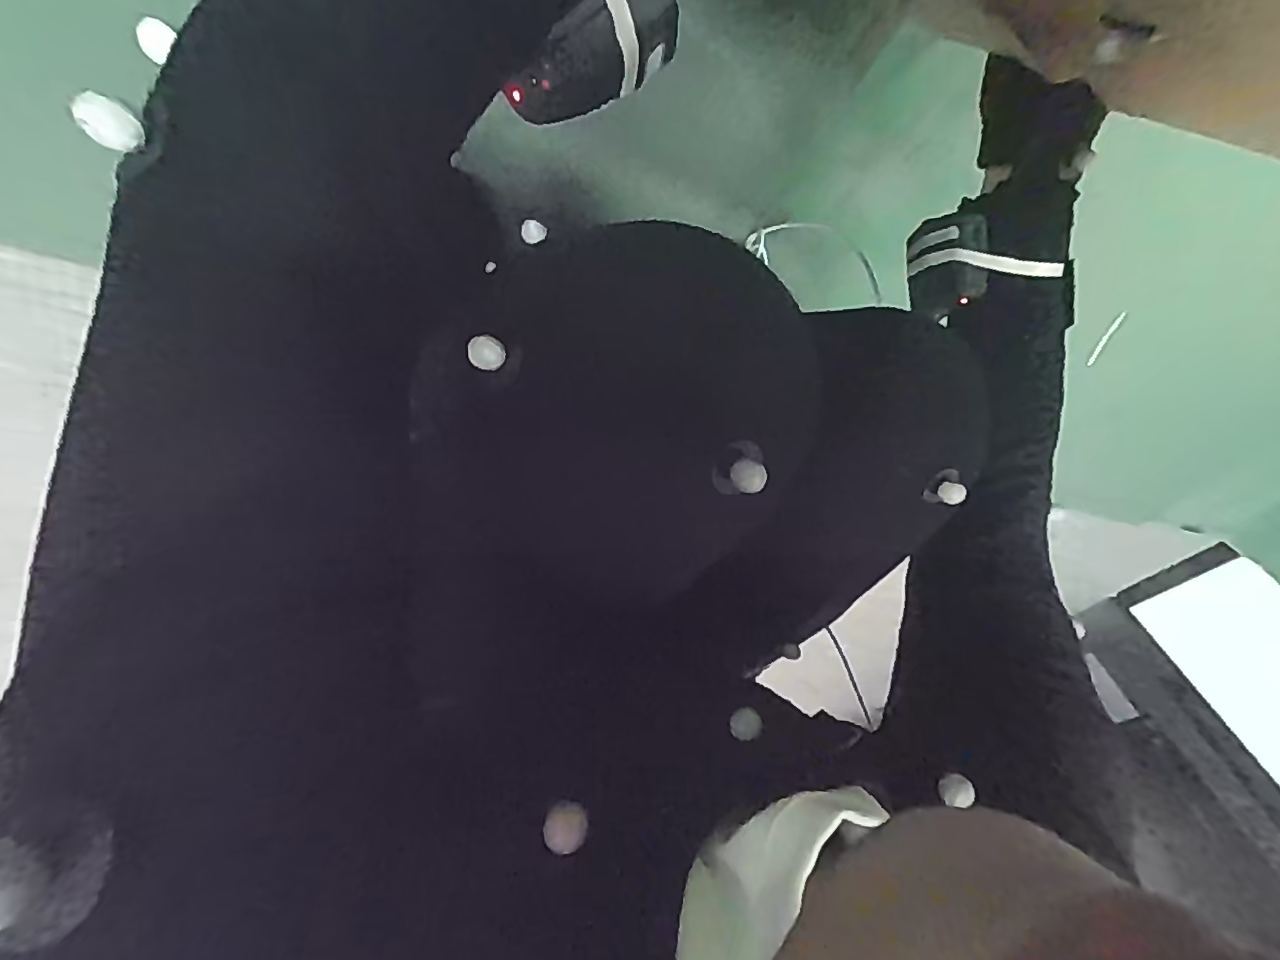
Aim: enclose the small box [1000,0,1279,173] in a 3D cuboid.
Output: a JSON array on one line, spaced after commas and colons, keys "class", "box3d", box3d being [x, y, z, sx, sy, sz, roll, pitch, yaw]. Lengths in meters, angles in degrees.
[{"class": "small box", "box3d": [0.245, -0.216, 0.158, 0.168, 0.176, 0.179, 9, 133, -30]}]
